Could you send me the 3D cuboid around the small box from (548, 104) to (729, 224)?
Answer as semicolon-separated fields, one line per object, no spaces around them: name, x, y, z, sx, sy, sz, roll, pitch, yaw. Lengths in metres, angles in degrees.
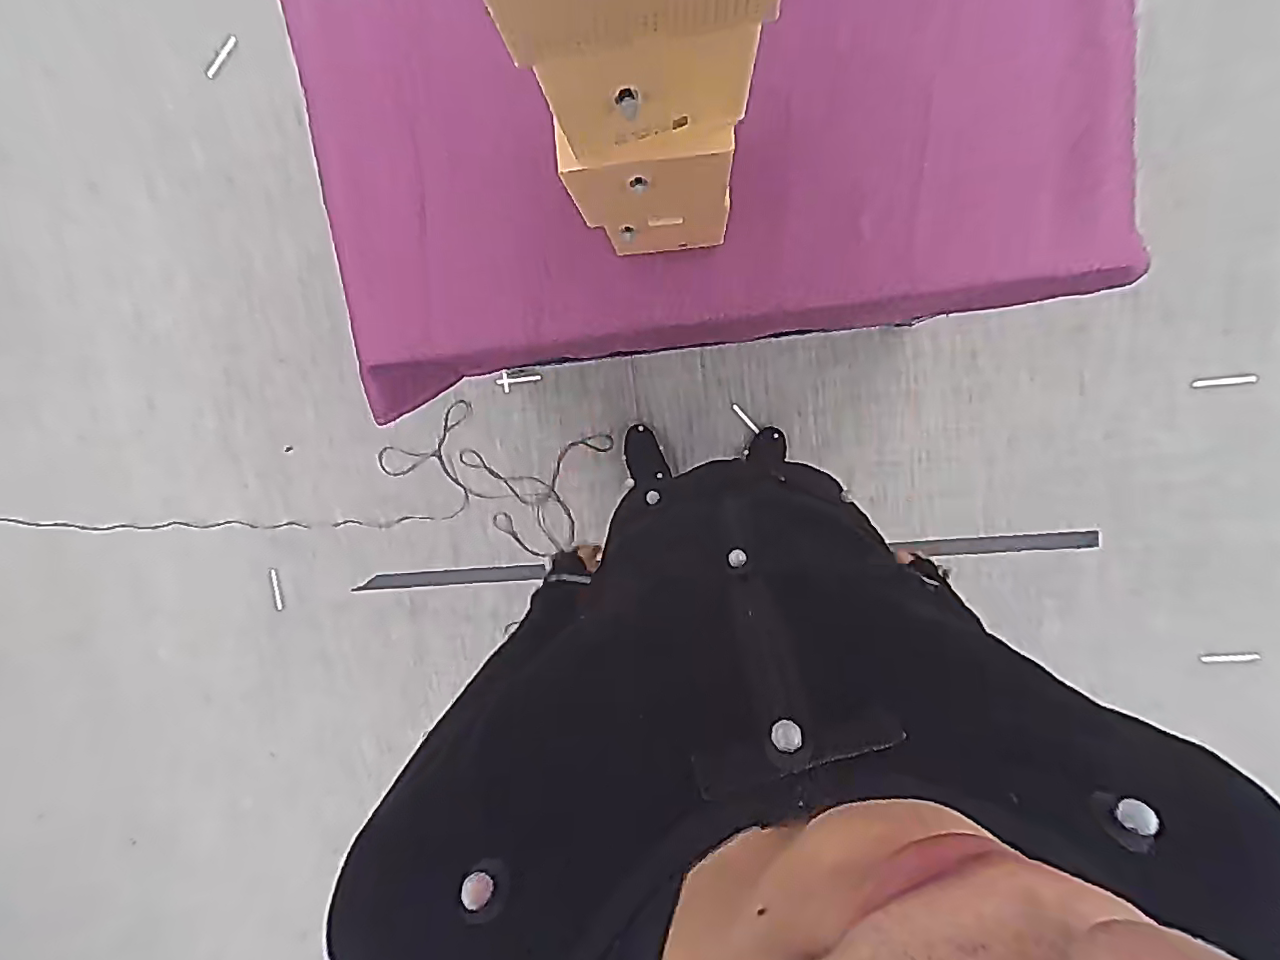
small box;0.003;-0.399;0.596;0.179;0.176;0.168;-4;98;5

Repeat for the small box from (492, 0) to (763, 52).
small box;-0.015;-0.361;0.271;0.179;0.176;0.168;-6;96;5

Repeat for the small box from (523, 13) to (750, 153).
small box;-0.008;-0.395;0.433;0.168;0.176;0.179;-12;95;7
